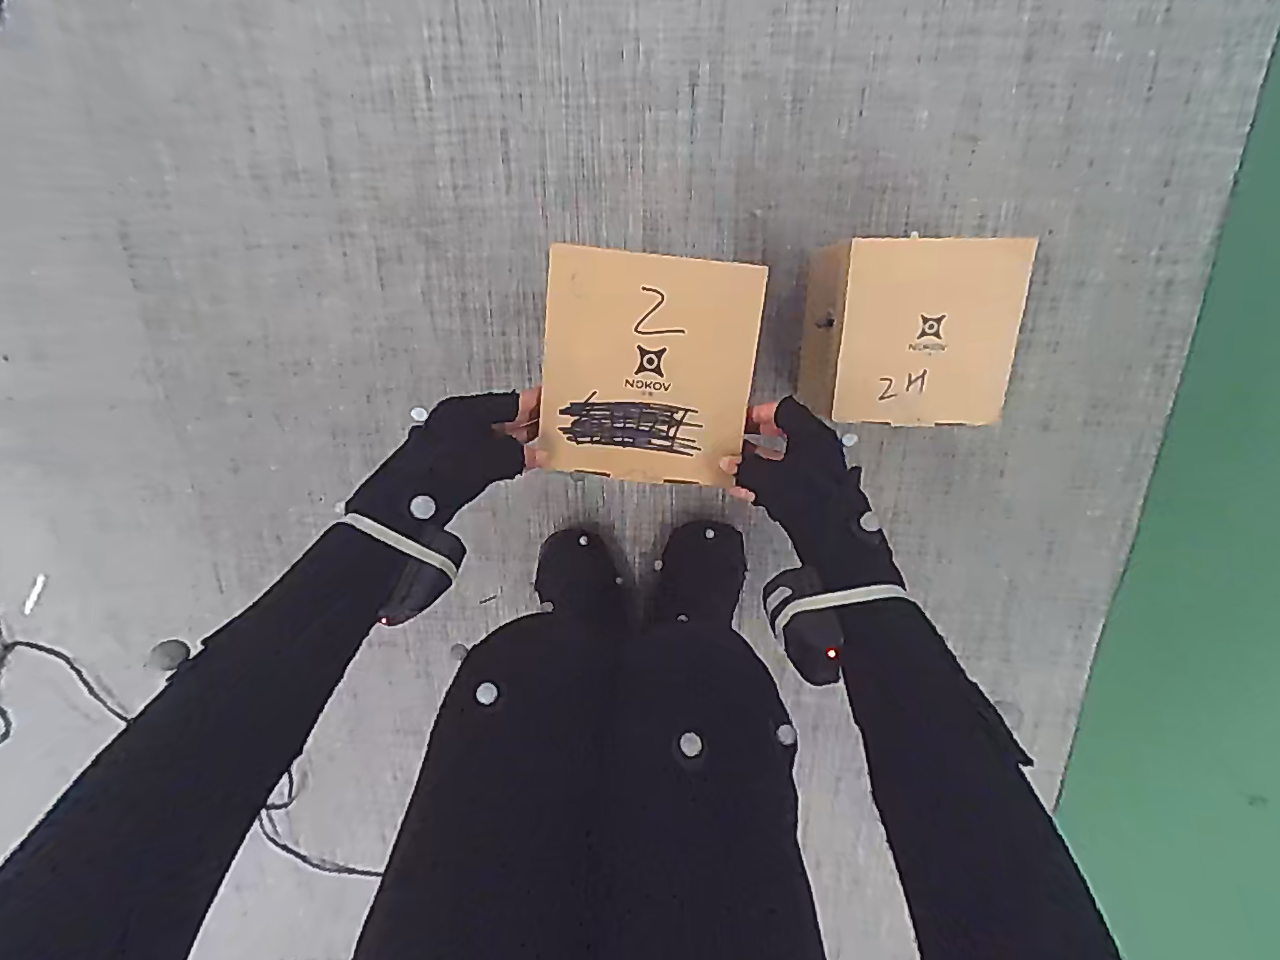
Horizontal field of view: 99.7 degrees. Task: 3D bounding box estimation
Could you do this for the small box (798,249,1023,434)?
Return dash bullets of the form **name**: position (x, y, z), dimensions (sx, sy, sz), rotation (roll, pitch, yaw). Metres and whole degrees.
- **small box**: position (0.281, -0.157, 0.607), dimensions (0.168, 0.176, 0.179), rotation (2, 108, 5)
